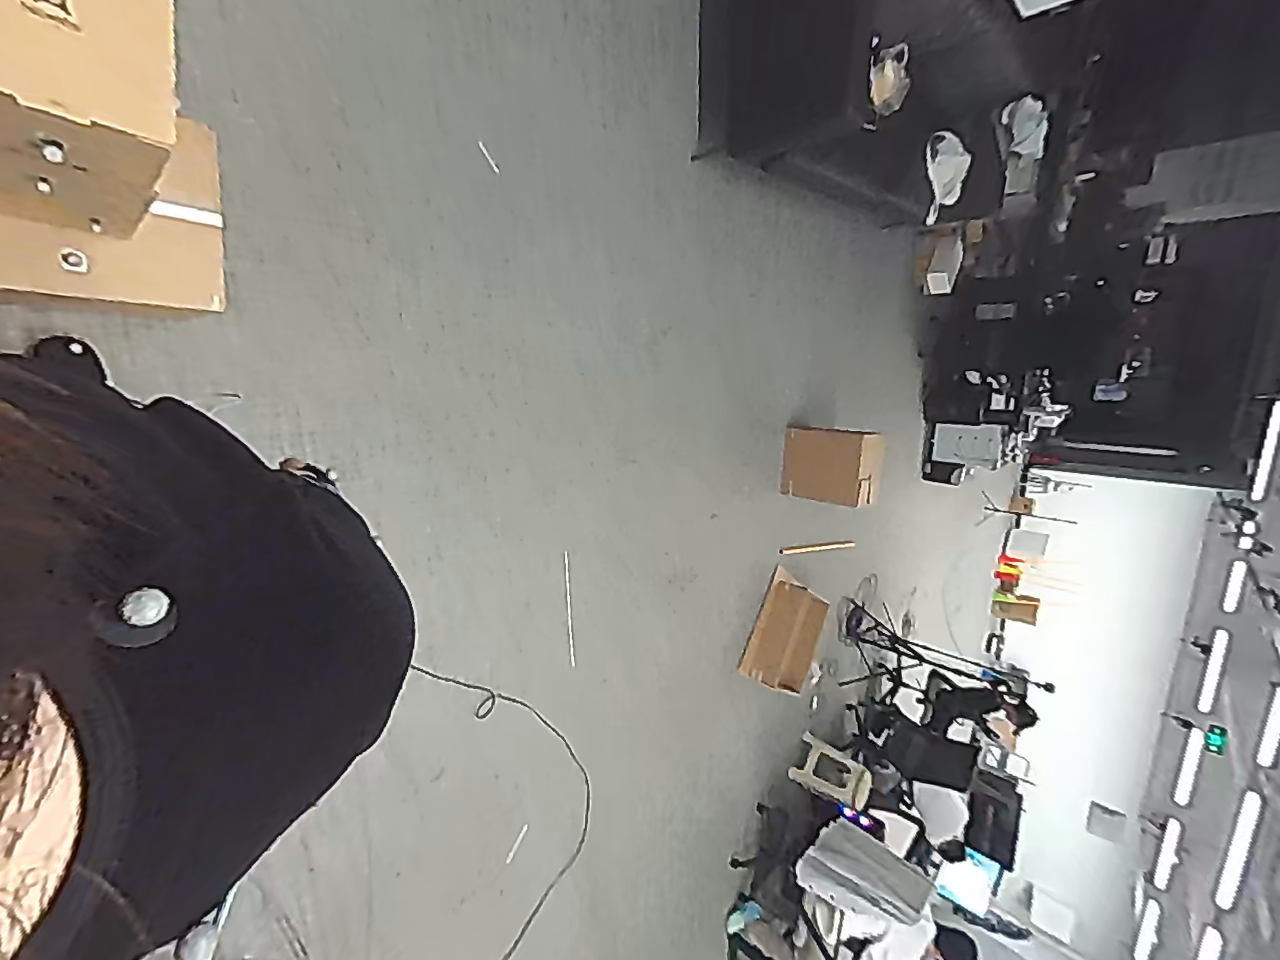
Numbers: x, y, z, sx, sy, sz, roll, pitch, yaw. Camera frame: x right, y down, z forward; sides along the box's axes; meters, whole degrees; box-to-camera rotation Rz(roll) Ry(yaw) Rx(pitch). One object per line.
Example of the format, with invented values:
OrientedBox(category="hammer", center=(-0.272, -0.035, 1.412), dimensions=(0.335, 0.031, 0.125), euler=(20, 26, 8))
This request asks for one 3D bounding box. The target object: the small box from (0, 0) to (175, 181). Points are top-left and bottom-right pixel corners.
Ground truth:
OrientedBox(category="small box", center=(-0.565, -0.419, 0.519), dimensions=(0.168, 0.176, 0.179), euler=(-2, 99, -48))

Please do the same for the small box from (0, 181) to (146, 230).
OrientedBox(category="small box", center=(-0.806, -0.458, 0.738), dimensions=(0.179, 0.176, 0.168), euler=(-2, 98, -47))

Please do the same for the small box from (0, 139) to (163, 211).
OrientedBox(category="small box", center=(-0.684, -0.435, 0.631), dimensions=(0.179, 0.176, 0.168), euler=(-1, 97, -47))
